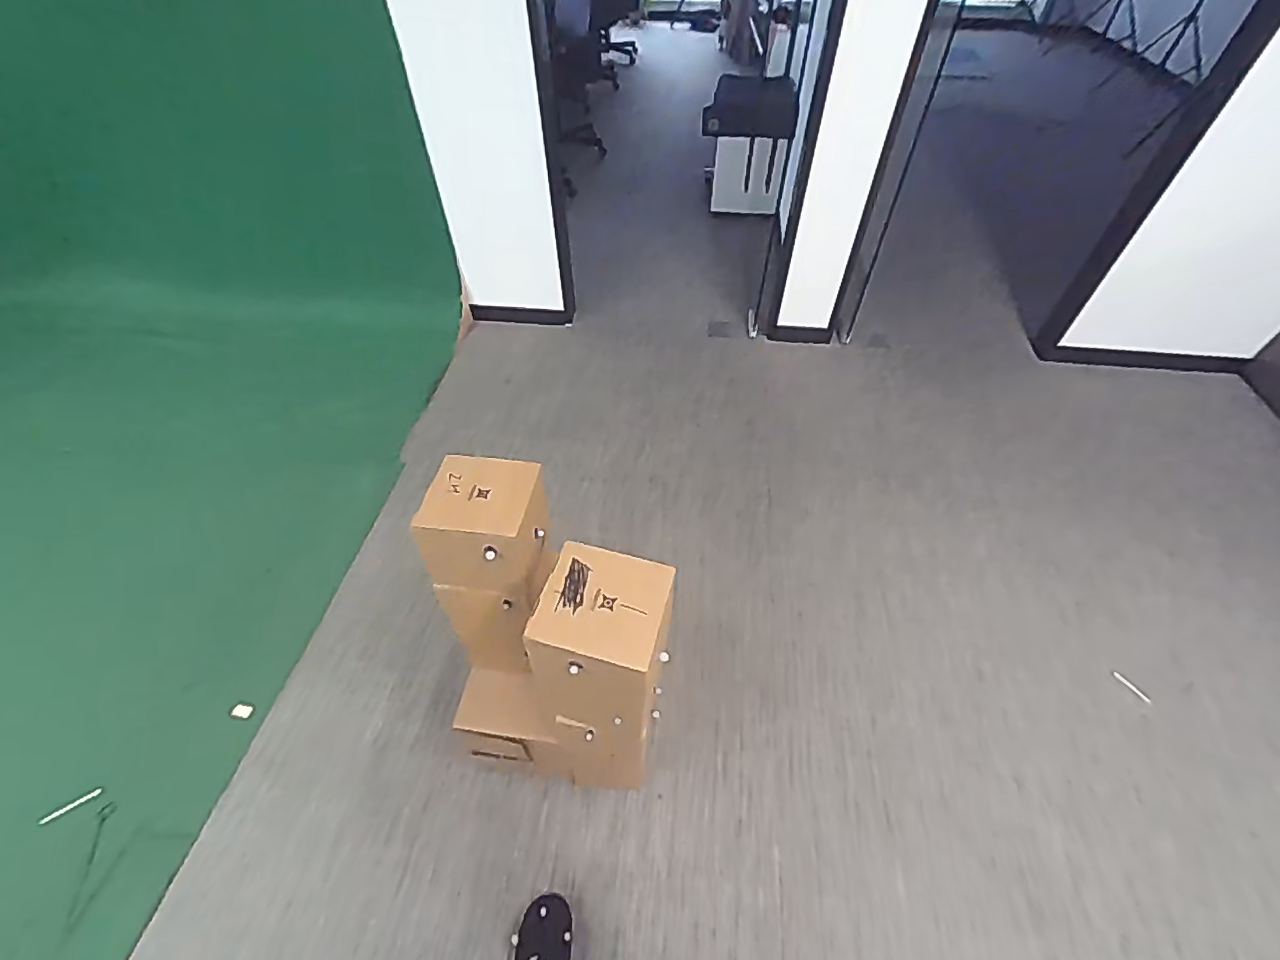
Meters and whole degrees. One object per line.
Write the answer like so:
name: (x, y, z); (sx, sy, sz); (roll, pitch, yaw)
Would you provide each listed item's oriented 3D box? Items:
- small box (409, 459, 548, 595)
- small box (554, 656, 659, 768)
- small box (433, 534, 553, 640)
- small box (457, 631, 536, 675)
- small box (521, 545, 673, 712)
small box: (-0.269, 0.086, 0.956); (0.179, 0.176, 0.168); (6, 46, 5)
small box: (-0.061, 0.441, 1.073); (0.168, 0.176, 0.179); (9, 48, 7)
small box: (-0.280, 0.201, 1.074); (0.179, 0.176, 0.168); (5, 46, 3)
small box: (-0.274, 0.314, 1.190); (0.179, 0.176, 0.168); (3, 46, 4)
small box: (-0.058, 0.229, 0.820); (0.179, 0.176, 0.168); (13, 50, 9)
